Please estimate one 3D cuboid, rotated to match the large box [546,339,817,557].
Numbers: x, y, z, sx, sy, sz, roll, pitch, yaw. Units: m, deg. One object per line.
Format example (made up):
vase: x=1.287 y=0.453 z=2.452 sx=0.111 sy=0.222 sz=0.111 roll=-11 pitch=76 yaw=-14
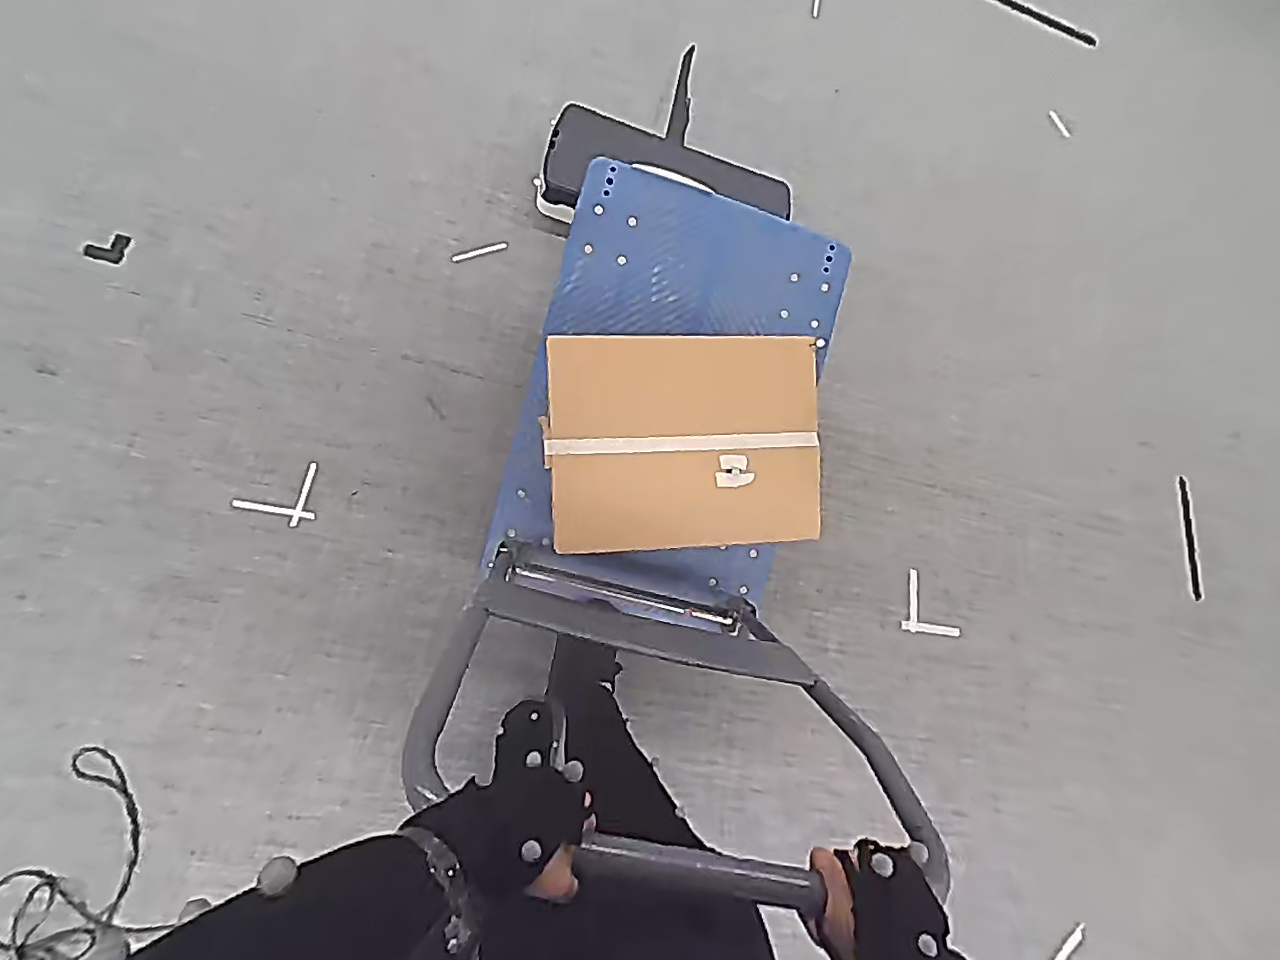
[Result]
large box: x=0.047 y=-0.055 z=0.950 sx=0.408 sy=0.320 sz=0.320 roll=-2 pitch=93 yaw=-9
